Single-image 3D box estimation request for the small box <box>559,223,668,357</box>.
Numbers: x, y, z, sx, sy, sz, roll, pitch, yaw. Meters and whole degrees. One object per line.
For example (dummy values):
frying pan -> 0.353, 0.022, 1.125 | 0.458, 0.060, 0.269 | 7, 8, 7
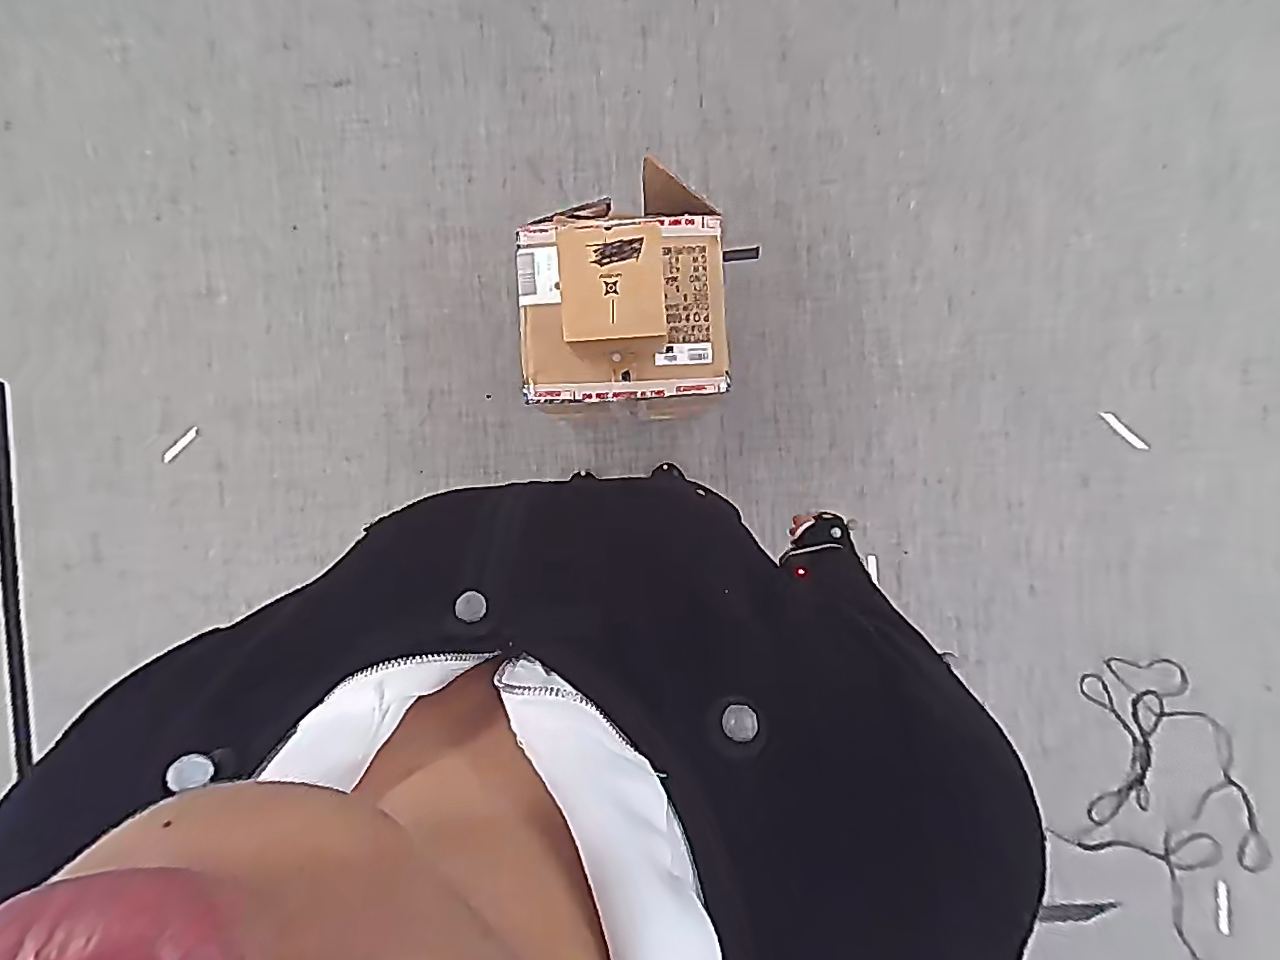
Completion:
small box -> -0.041, -0.314, 0.924 | 0.168, 0.176, 0.179 | -3, 94, 2
